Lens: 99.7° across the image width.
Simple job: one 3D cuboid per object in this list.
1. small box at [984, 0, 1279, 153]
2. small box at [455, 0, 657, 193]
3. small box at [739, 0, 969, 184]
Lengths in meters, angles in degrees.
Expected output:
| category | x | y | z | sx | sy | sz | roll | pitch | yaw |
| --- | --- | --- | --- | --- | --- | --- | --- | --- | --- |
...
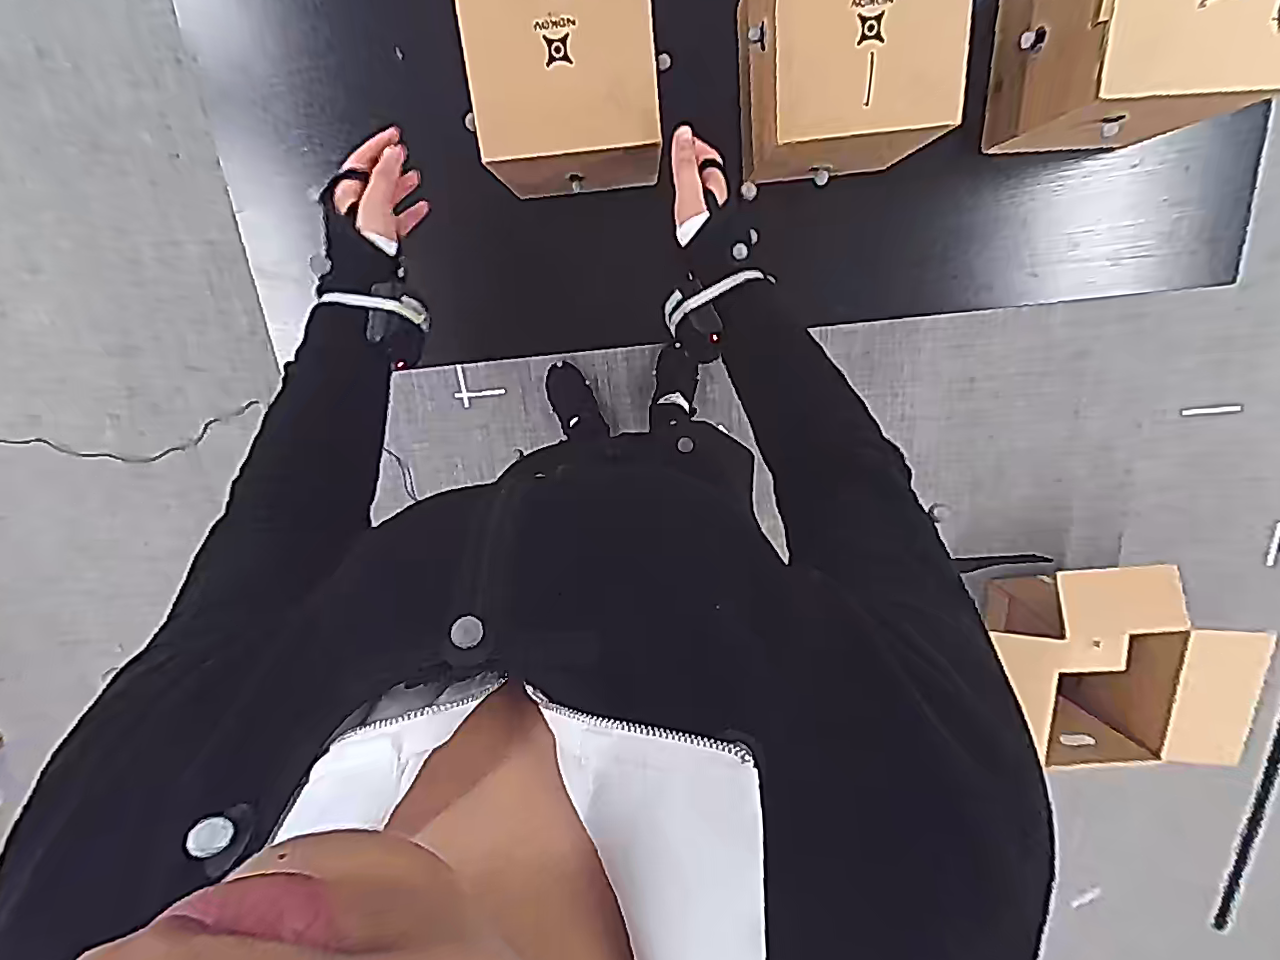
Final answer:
| category | x | y | z | sx | sy | sz | roll | pitch | yaw |
| --- | --- | --- | --- | --- | --- | --- | --- | --- | --- |
| small box | 0.474 | -0.435 | 0.526 | 0.179 | 0.176 | 0.168 | -2 | 107 | 2 |
| small box | -0.070 | -0.398 | 0.538 | 0.168 | 0.176 | 0.179 | -5 | 107 | 1 |
| small box | 0.194 | -0.413 | 0.533 | 0.168 | 0.176 | 0.179 | -5 | 108 | 2 |
